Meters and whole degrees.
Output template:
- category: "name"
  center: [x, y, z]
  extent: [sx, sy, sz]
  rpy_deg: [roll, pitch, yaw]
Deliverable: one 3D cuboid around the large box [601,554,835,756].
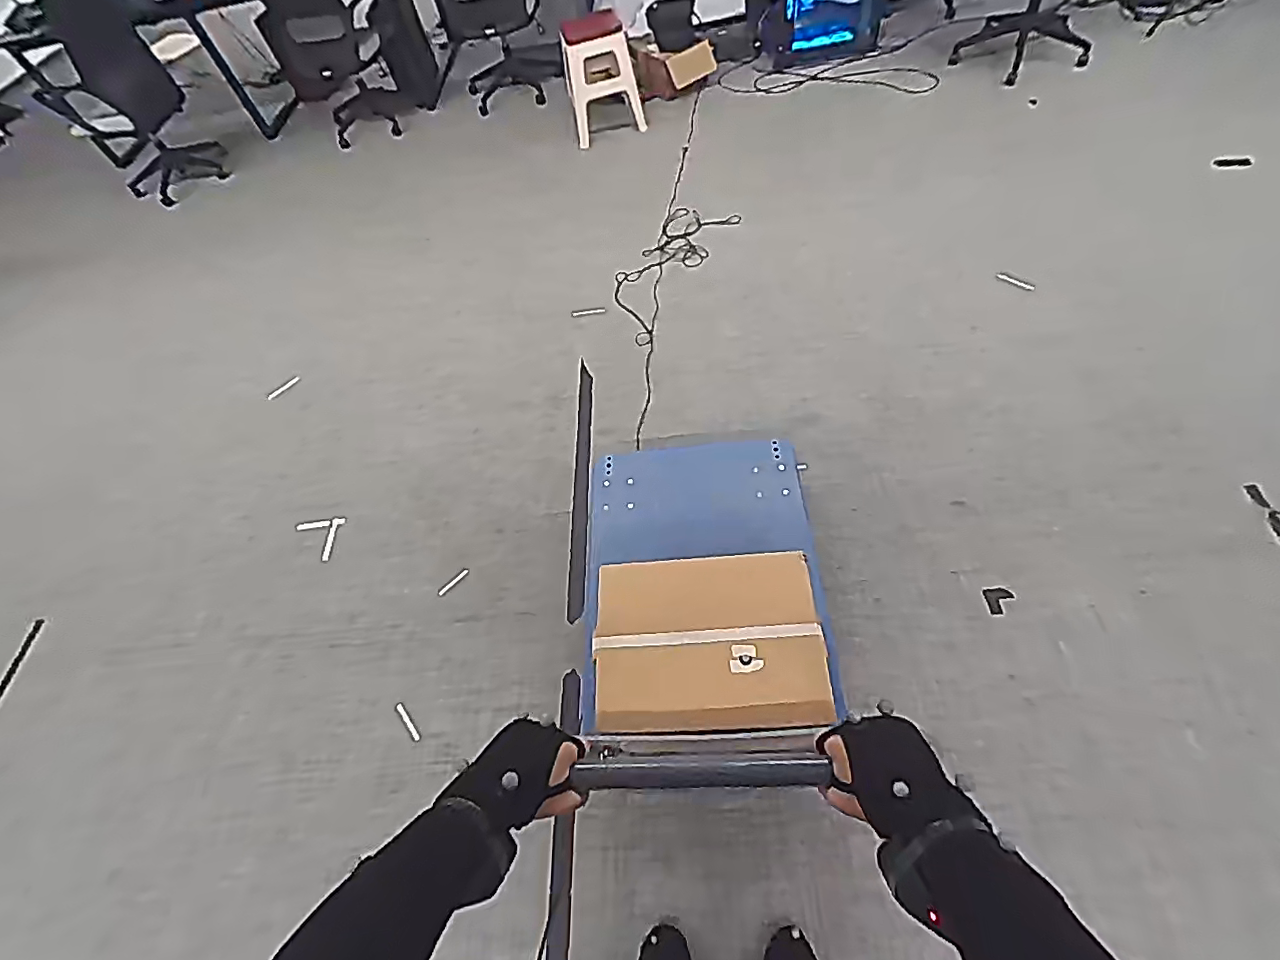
- category: "large box"
  center: [0.142, 0.373, 1.118]
  extent: [0.408, 0.320, 0.320]
  rpy_deg: [-5, 57, 6]
